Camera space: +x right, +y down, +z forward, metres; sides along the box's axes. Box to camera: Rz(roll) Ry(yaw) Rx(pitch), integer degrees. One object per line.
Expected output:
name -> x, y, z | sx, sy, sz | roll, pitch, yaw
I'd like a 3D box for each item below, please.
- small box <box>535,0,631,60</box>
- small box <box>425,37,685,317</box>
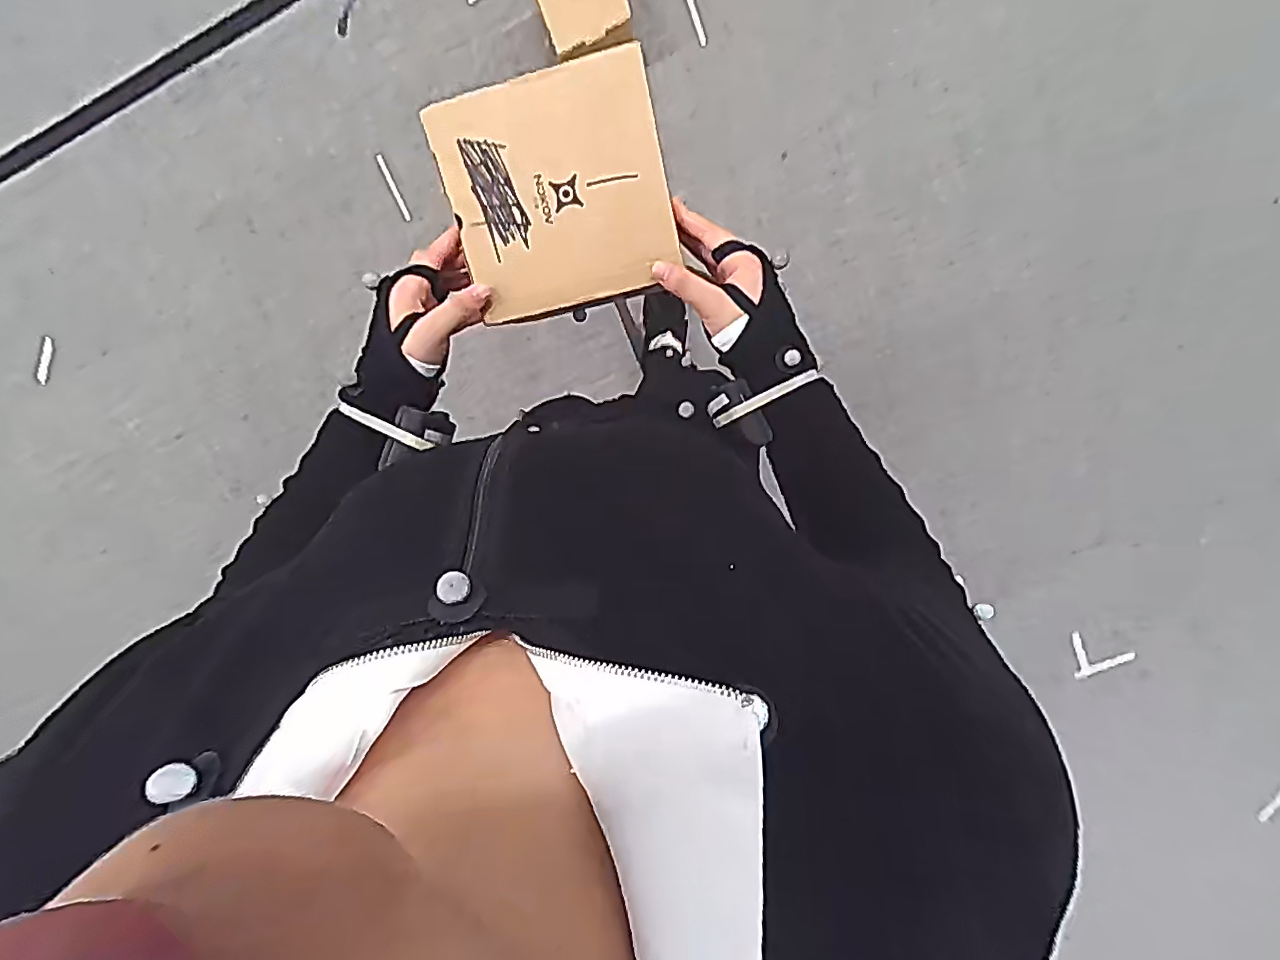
small box -> -0.121, -0.980, 1.148 | 0.168, 0.176, 0.179 | -21, 104, 7
small box -> -0.057, -0.250, 0.495 | 0.179, 0.176, 0.168 | -11, 107, 7
